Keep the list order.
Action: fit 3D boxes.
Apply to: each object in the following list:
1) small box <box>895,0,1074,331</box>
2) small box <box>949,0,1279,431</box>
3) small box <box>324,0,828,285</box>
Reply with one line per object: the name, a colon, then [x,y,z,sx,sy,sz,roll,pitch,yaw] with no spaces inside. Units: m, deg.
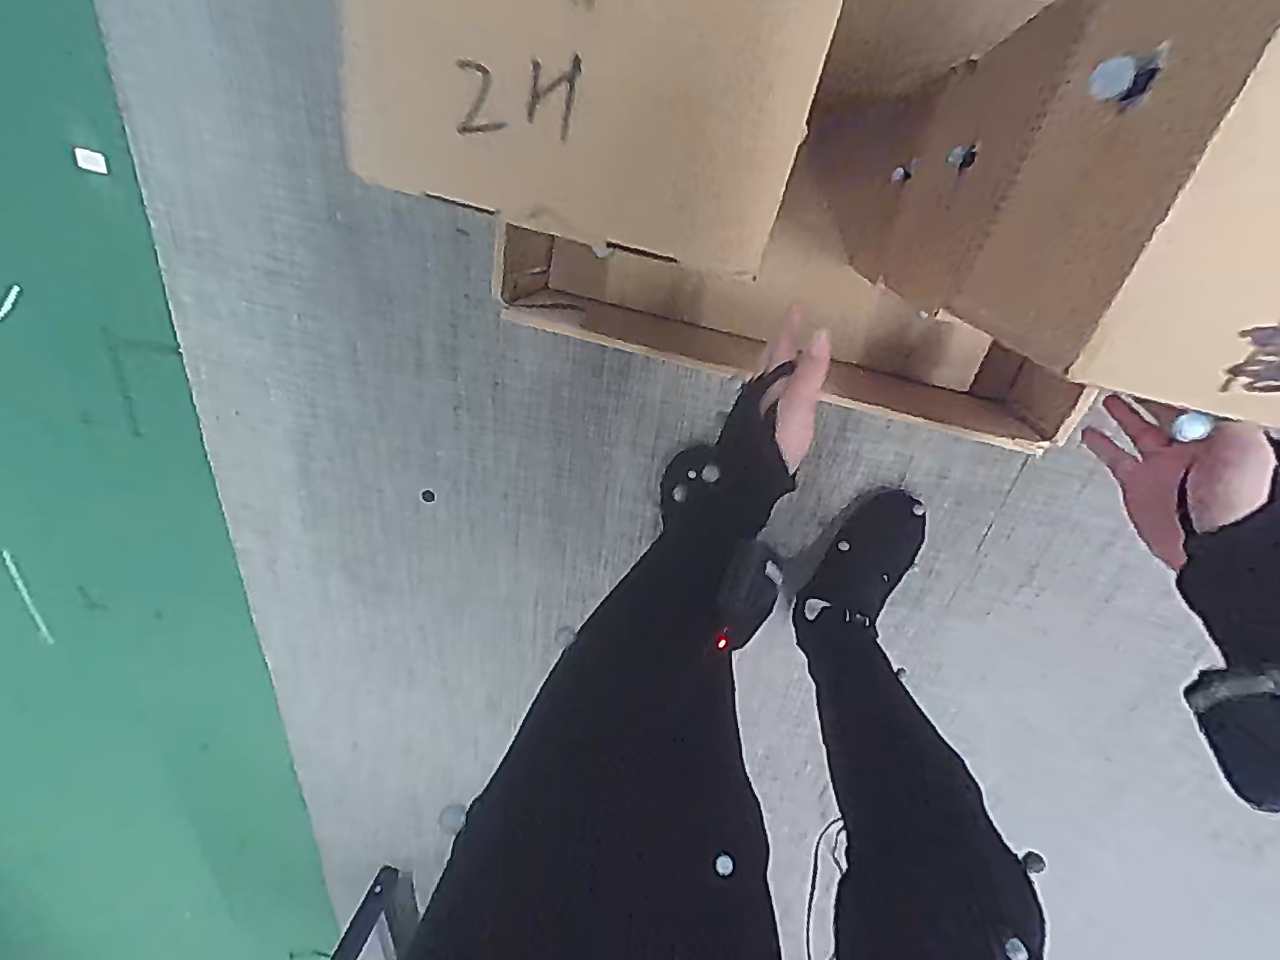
small box: [0.294,-0.189,0.366,0.168,0.176,0.179,17,117,6]
small box: [0.260,-0.123,0.219,0.168,0.176,0.179,16,117,6]
small box: [-0.008,-0.204,0.239,0.168,0.176,0.179,16,118,3]
